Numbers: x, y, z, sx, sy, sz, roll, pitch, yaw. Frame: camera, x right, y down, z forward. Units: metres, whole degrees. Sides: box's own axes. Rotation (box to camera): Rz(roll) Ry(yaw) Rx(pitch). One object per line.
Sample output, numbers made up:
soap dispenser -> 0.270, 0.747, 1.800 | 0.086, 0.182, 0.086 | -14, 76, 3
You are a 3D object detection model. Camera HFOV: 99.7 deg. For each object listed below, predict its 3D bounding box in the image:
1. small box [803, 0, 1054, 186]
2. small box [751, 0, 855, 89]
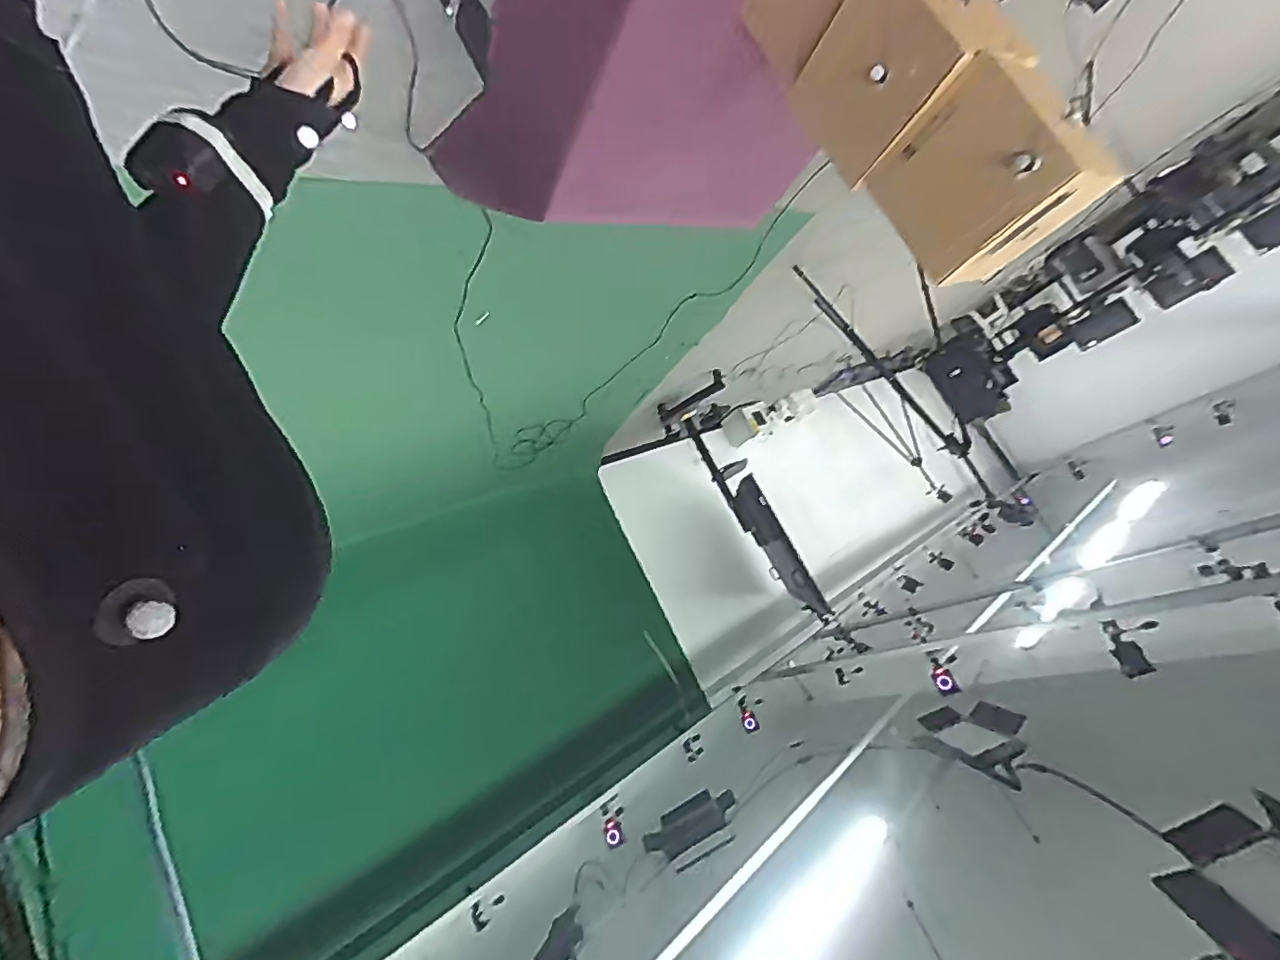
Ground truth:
small box -> 0.336, -0.497, 0.658 | 0.168, 0.176, 0.179 | -21, 167, -28
small box -> 0.280, -0.647, 0.698 | 0.179, 0.176, 0.168 | -22, 168, -23
